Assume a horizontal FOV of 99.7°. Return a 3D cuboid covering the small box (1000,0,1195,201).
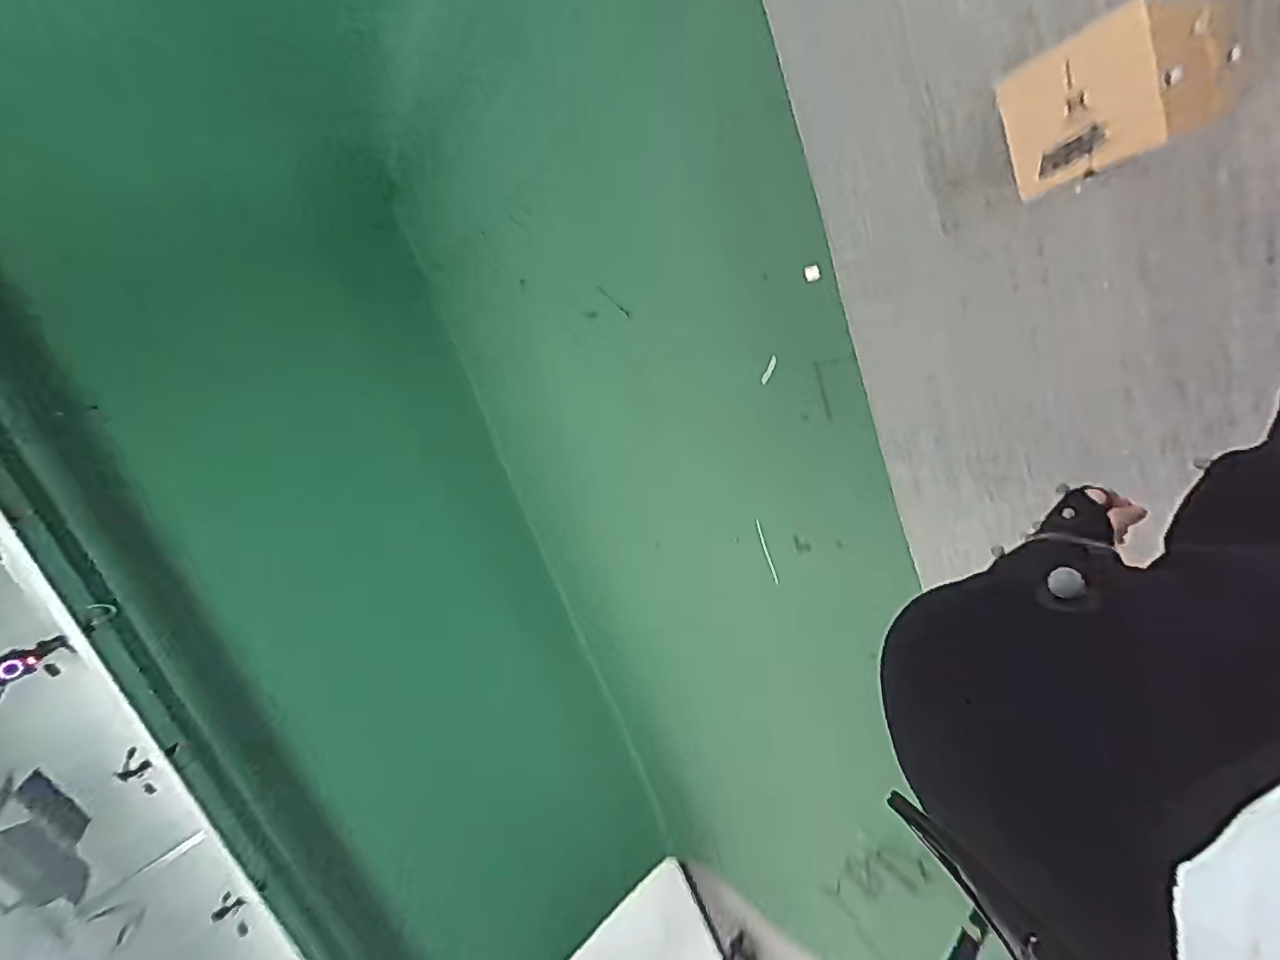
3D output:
[{"bbox_3d":[0.660,-0.536,0.778,0.168,0.176,0.179,-5,108,56],"label":"small box"}]
